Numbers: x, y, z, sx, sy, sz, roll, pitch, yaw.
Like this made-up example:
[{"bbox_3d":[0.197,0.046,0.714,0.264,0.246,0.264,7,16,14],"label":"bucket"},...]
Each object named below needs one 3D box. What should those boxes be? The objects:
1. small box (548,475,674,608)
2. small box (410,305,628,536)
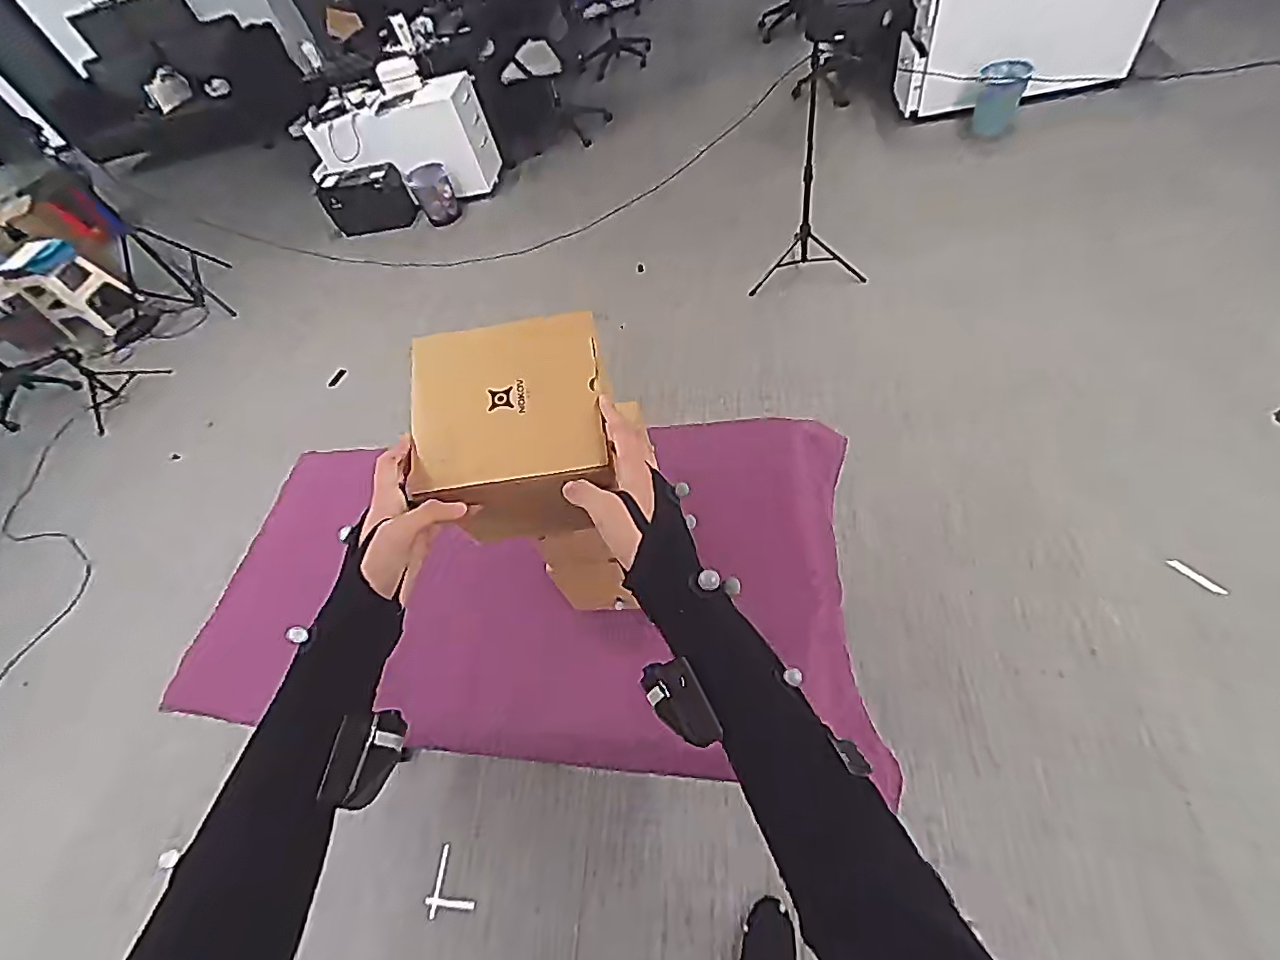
[{"bbox_3d":[-0.038,0.109,0.918,0.179,0.176,0.168,-5,53,10],"label":"small box"},{"bbox_3d":[-0.113,-0.050,0.560,0.179,0.176,0.168,-8,67,0],"label":"small box"}]
